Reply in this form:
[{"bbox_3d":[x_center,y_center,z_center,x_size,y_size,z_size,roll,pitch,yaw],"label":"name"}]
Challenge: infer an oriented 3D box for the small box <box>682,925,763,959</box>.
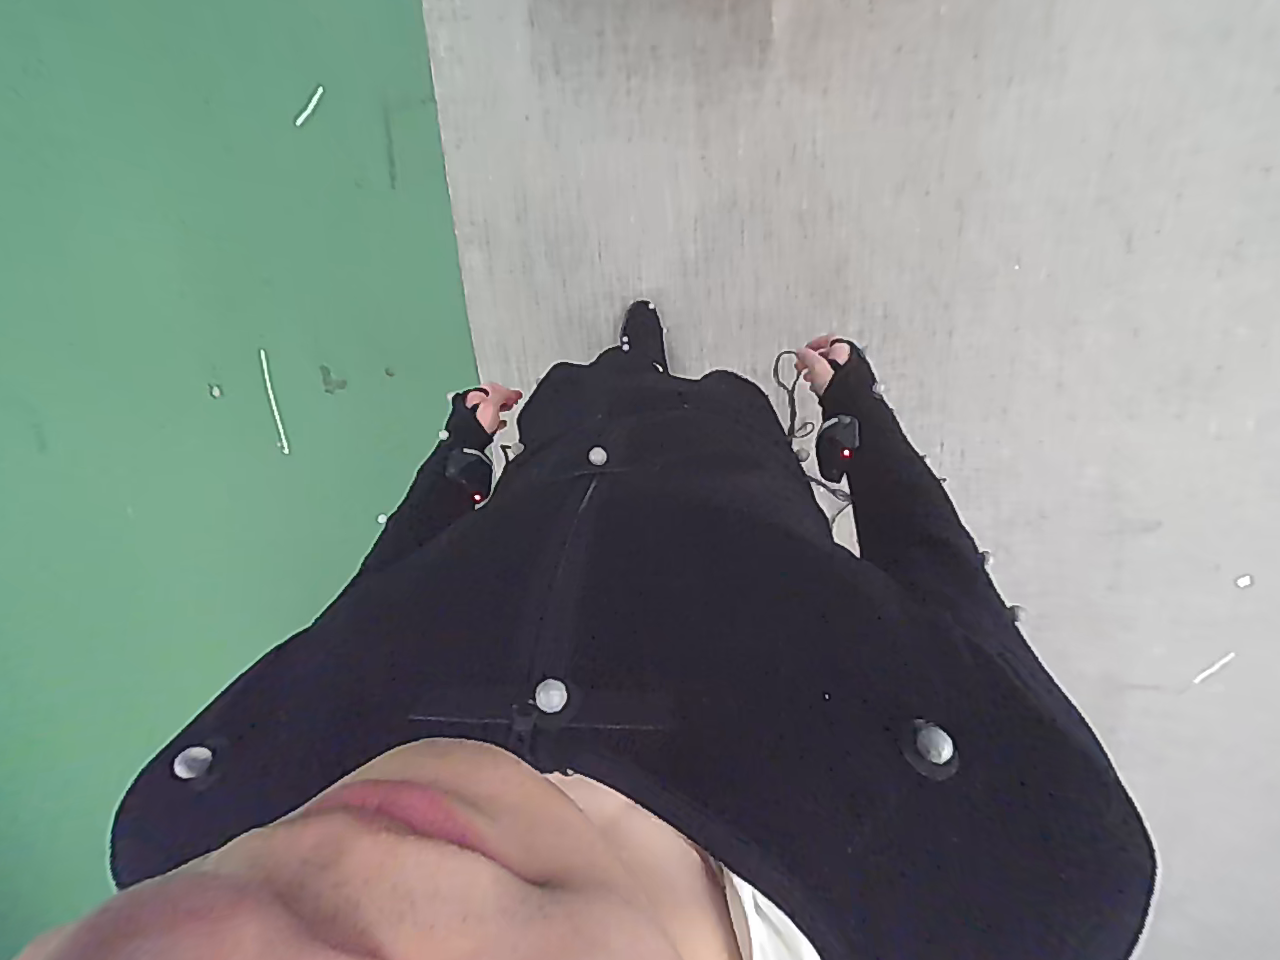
[{"bbox_3d":[0.175,1.058,1.103,0.168,0.176,0.179,-6,106,6],"label":"small box"}]
